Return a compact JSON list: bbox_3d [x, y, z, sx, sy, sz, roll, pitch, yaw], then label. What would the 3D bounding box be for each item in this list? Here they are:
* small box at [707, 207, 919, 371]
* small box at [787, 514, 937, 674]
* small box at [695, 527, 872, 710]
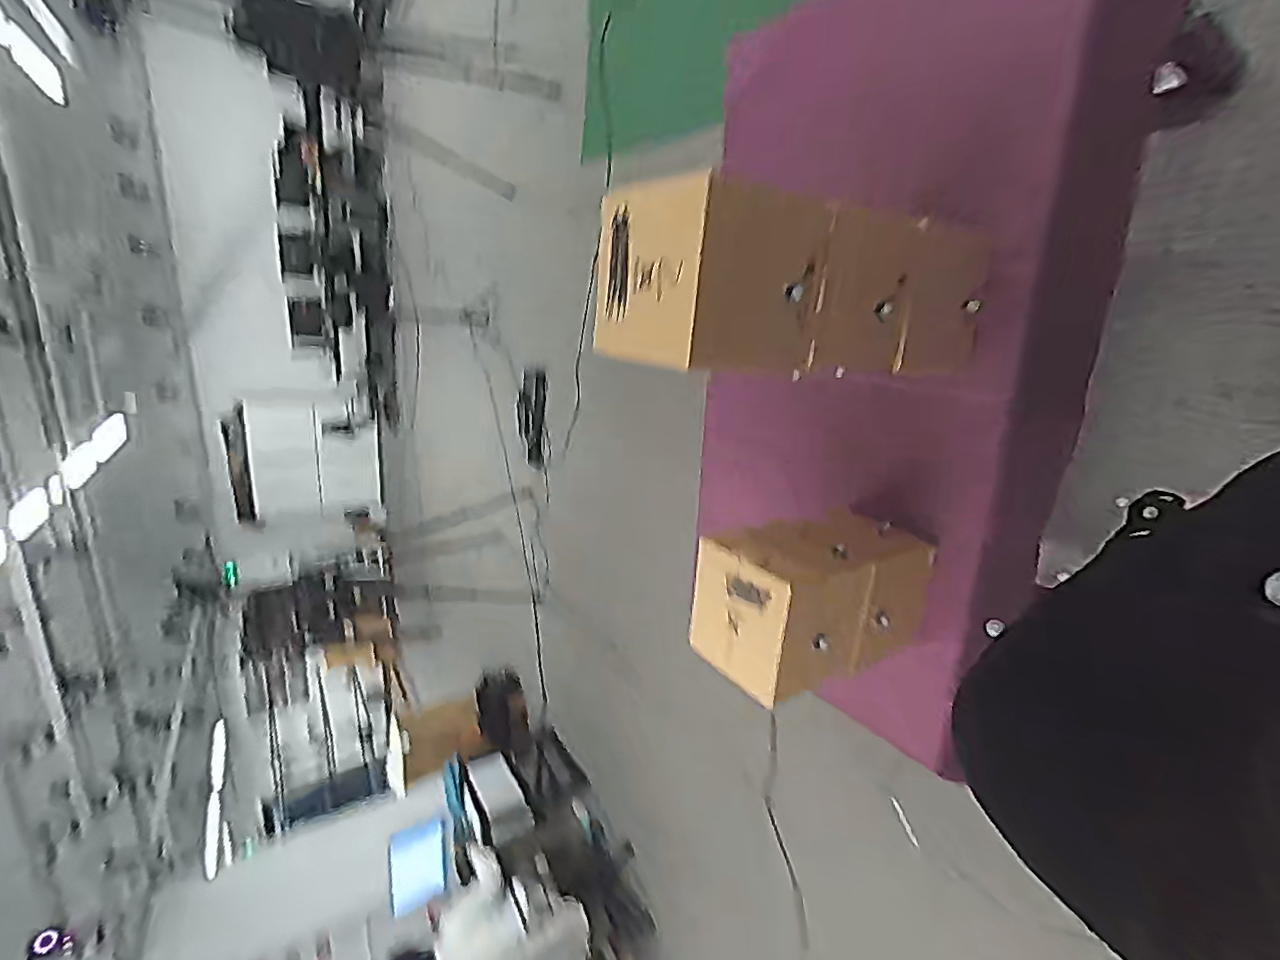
[{"bbox_3d":[0.210,-0.227,0.676,0.179,0.176,0.168,24,115,51],"label":"small box"},{"bbox_3d":[0.337,0.167,0.853,0.168,0.176,0.179,25,115,51],"label":"small box"},{"bbox_3d":[0.201,0.178,0.762,0.168,0.176,0.179,24,116,51],"label":"small box"}]
